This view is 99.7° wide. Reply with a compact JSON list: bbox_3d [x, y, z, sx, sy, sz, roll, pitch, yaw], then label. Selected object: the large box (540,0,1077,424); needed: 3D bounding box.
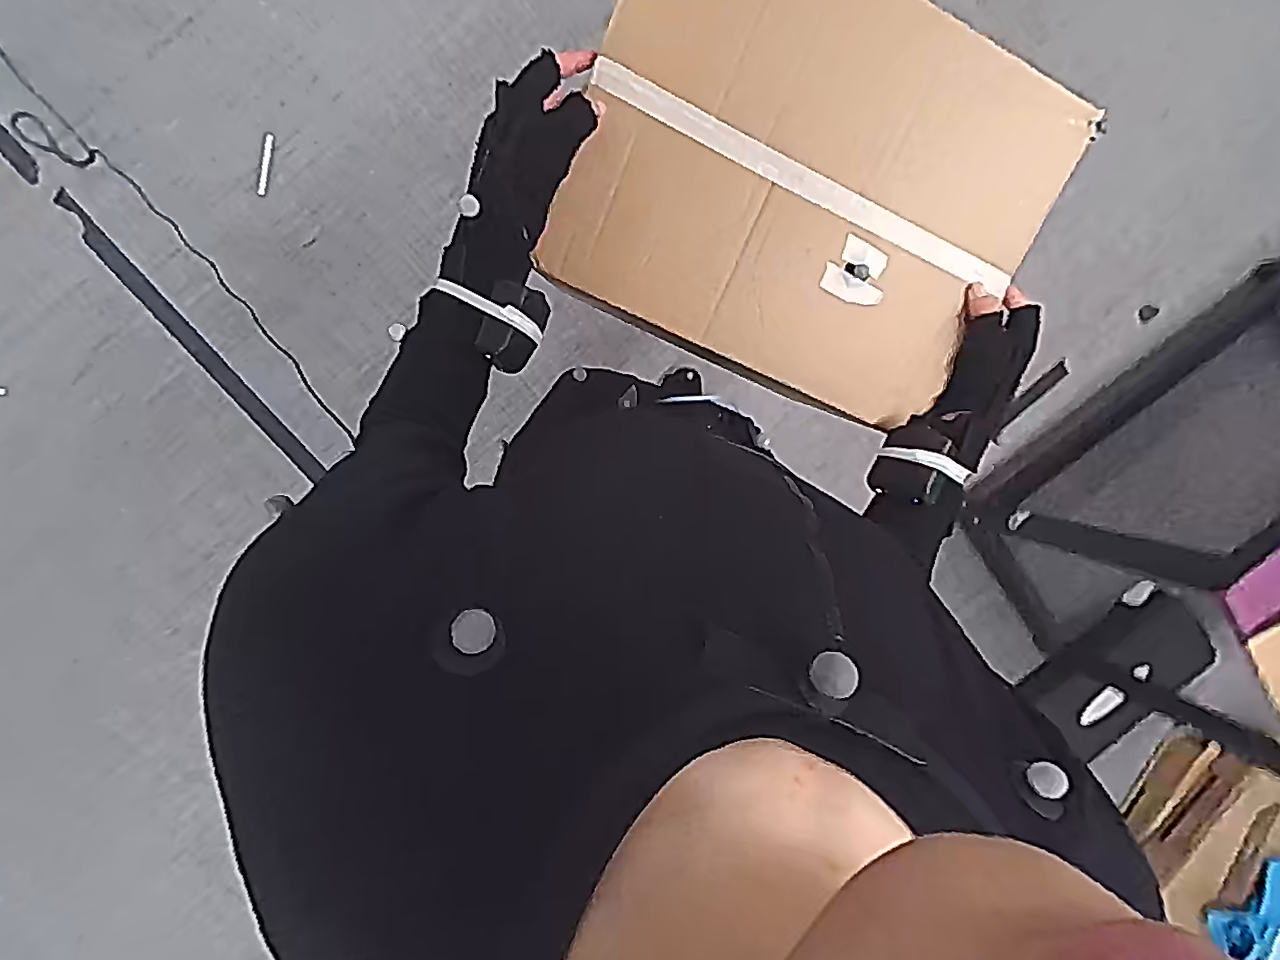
[{"bbox_3d":[0.135,-0.301,0.618,0.408,0.320,0.320,22,104,-11],"label":"large box"}]
